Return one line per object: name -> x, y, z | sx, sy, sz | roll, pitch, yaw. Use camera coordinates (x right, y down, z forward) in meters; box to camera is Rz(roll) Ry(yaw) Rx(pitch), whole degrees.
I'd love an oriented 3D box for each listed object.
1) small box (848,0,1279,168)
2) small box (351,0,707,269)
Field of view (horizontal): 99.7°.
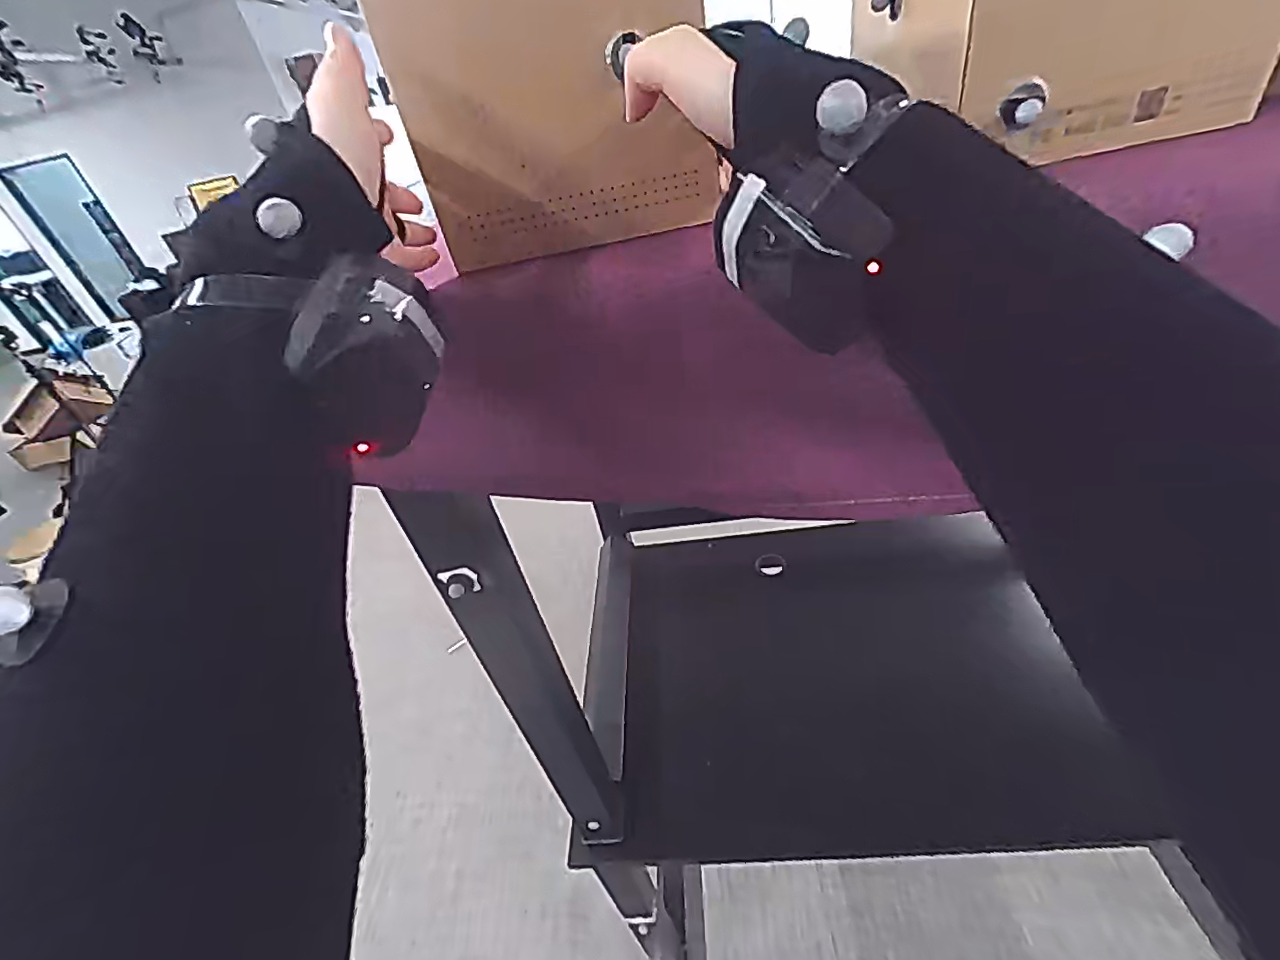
small box -> 0.236, -0.299, 0.322 | 0.168, 0.176, 0.179 | -10, 34, 4
small box -> -0.054, -0.257, 0.356 | 0.179, 0.176, 0.168 | -11, 35, 3
